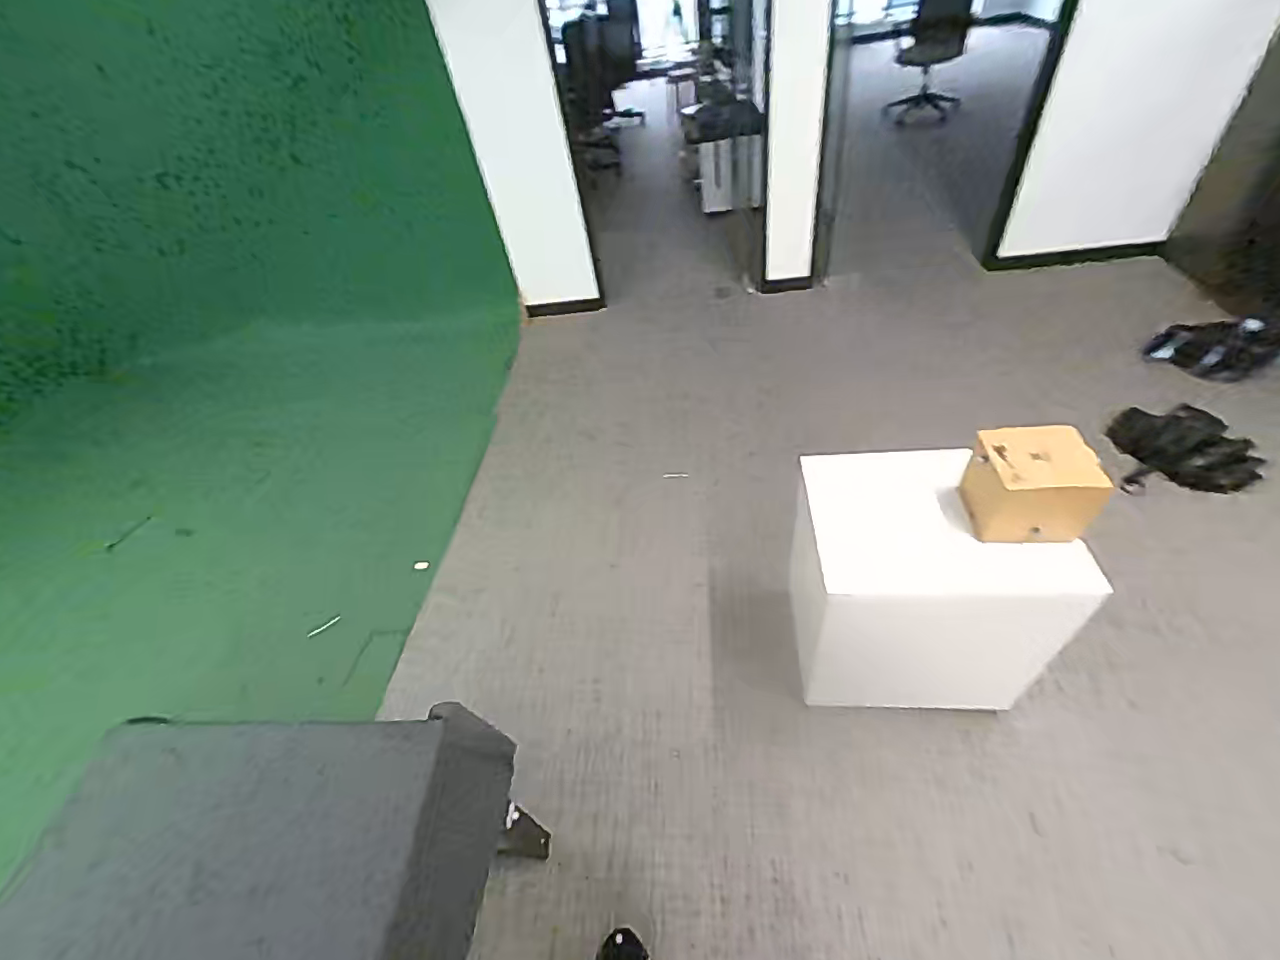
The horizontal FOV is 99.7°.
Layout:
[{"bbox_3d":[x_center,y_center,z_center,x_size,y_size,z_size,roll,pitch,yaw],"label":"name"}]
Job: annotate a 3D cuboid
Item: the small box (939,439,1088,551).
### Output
[{"bbox_3d":[0.752,0.033,1.112,0.179,0.176,0.168,-1,45,7],"label":"small box"}]
